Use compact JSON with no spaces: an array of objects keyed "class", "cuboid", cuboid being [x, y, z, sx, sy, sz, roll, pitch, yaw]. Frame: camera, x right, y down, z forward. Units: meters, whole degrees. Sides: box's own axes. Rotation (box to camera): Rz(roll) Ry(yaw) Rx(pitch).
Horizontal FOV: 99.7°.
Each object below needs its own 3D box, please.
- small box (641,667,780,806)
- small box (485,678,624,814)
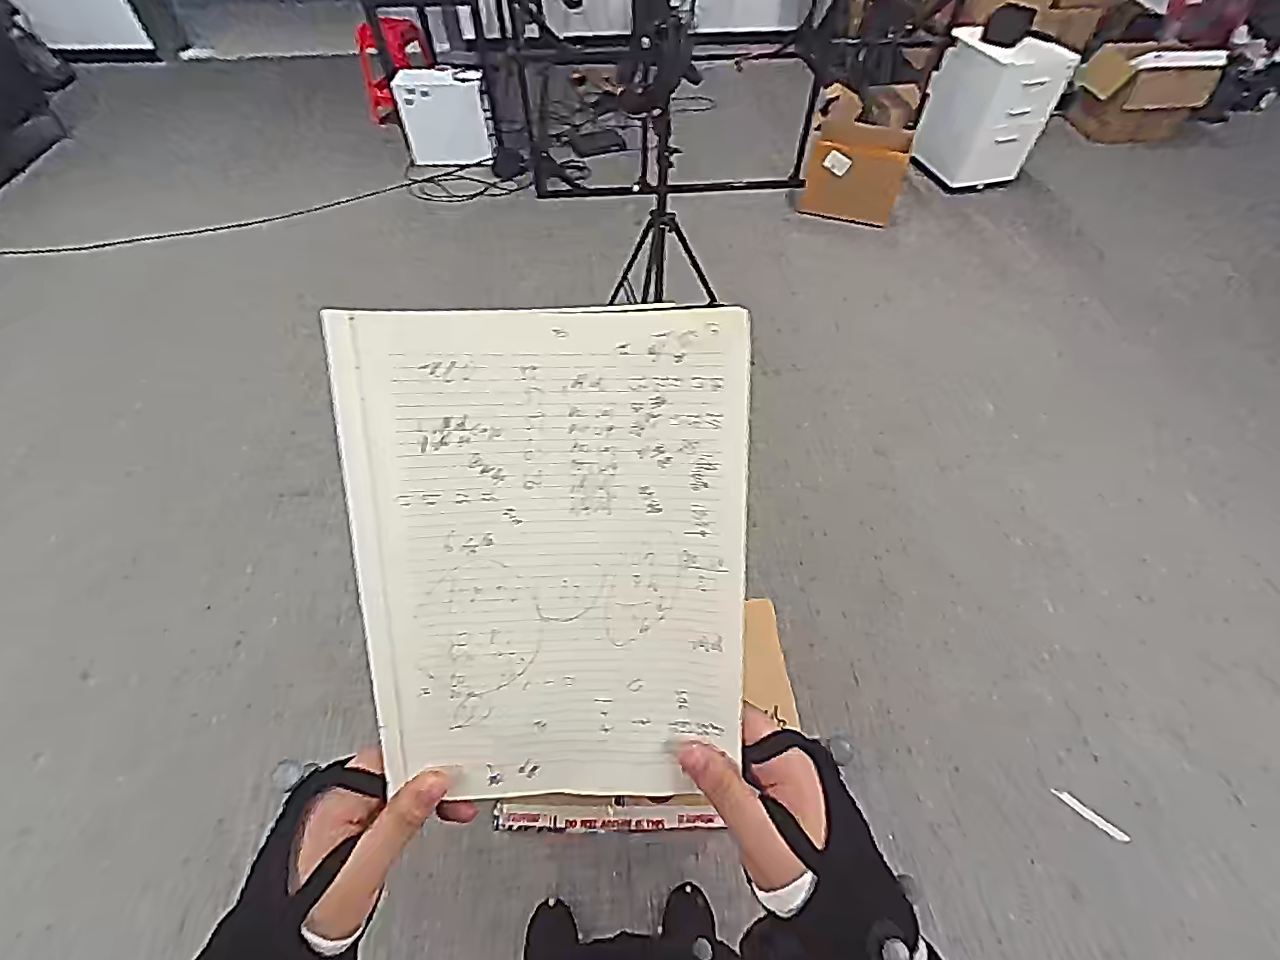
[{"class":"small box","cuboid":[0.098,0.405,0.849,0.179,0.176,0.168,-4,55,-5]},{"class":"small box","cuboid":[-0.118,0.415,0.839,0.179,0.176,0.168,1,55,3]}]
